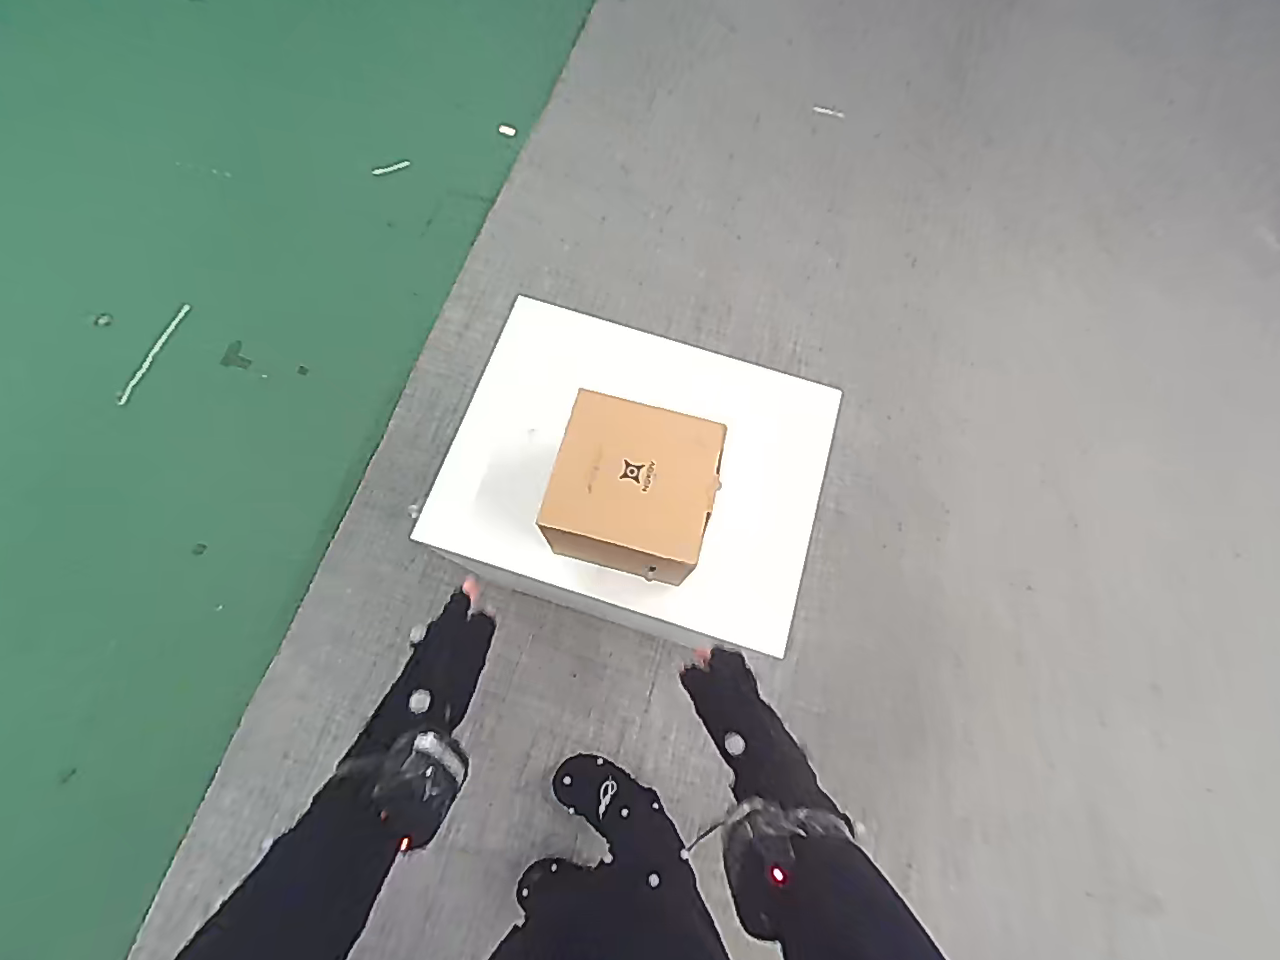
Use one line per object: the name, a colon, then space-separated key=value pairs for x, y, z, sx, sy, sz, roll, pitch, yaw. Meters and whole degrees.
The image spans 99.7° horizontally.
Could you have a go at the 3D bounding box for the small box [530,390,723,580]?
small box: x=-0.012 y=0.017 z=0.652 sx=0.179 sy=0.176 sz=0.168 roll=13 pitch=71 yaw=4
